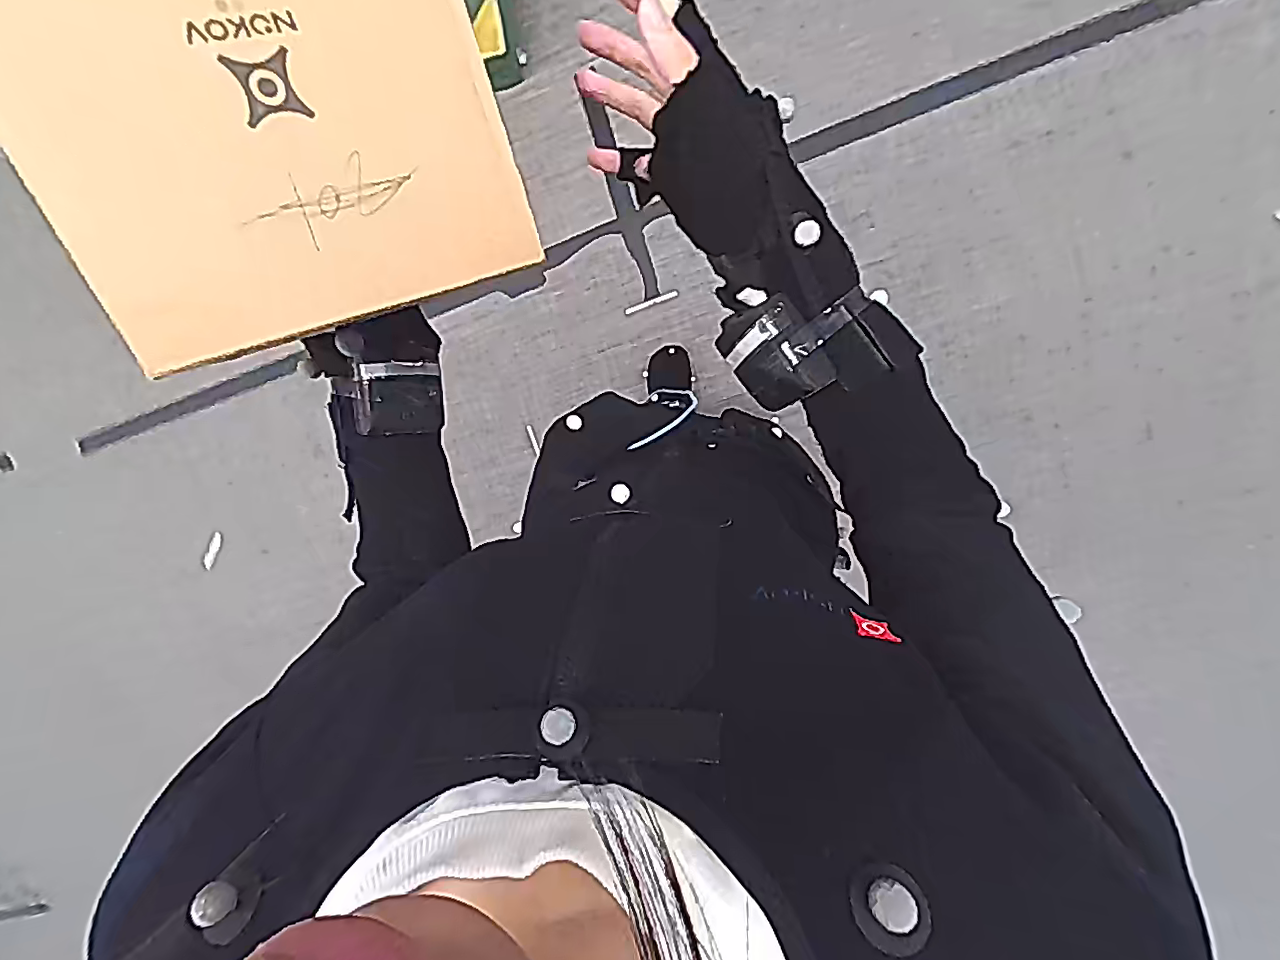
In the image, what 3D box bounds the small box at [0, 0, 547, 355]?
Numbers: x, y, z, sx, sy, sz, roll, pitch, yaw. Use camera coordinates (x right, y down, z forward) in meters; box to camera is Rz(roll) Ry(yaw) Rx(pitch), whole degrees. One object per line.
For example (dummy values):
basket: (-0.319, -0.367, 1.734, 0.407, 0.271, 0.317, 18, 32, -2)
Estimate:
small box: (-0.171, -0.174, 0.280, 0.168, 0.176, 0.179, -24, 114, -18)
